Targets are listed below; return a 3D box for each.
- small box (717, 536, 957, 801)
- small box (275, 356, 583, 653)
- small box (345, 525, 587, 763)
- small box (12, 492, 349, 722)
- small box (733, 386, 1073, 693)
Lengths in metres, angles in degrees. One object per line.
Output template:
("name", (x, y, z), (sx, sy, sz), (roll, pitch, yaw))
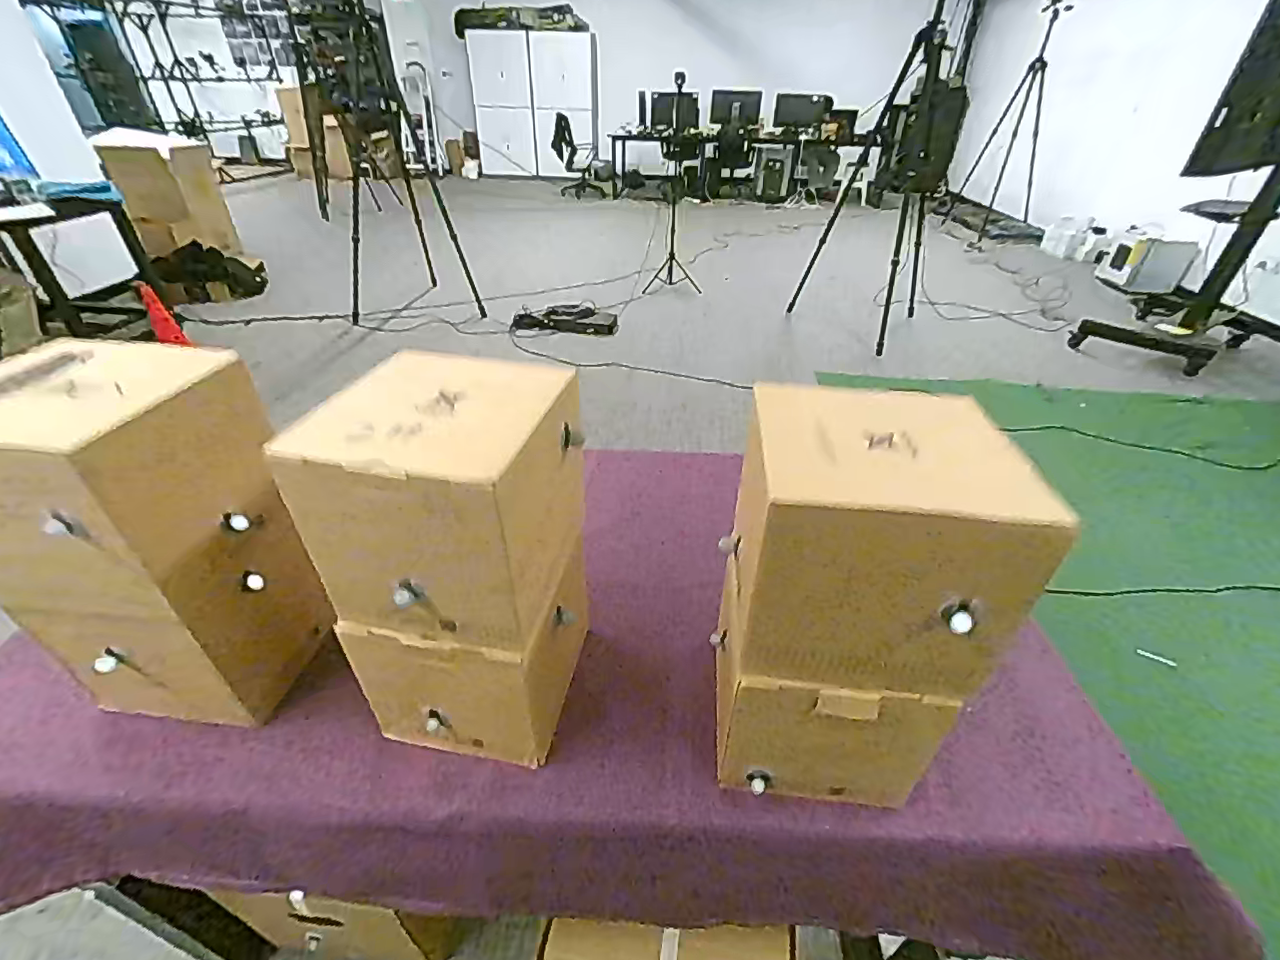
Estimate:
("small box", (0.165, 0.177, 0.518), (0.168, 0.176, 0.179), (4, 35, 5))
("small box", (-0.150, 0.014, 0.460), (0.168, 0.176, 0.179), (7, 38, 10))
("small box", (-0.154, 0.150, 0.552), (0.168, 0.176, 0.179), (7, 38, 8))
("small box", (-0.451, 0.131, 0.569), (0.179, 0.176, 0.168), (4, 37, 5))
("small box", (0.170, 0.043, 0.423), (0.179, 0.176, 0.168), (4, 35, 6))
